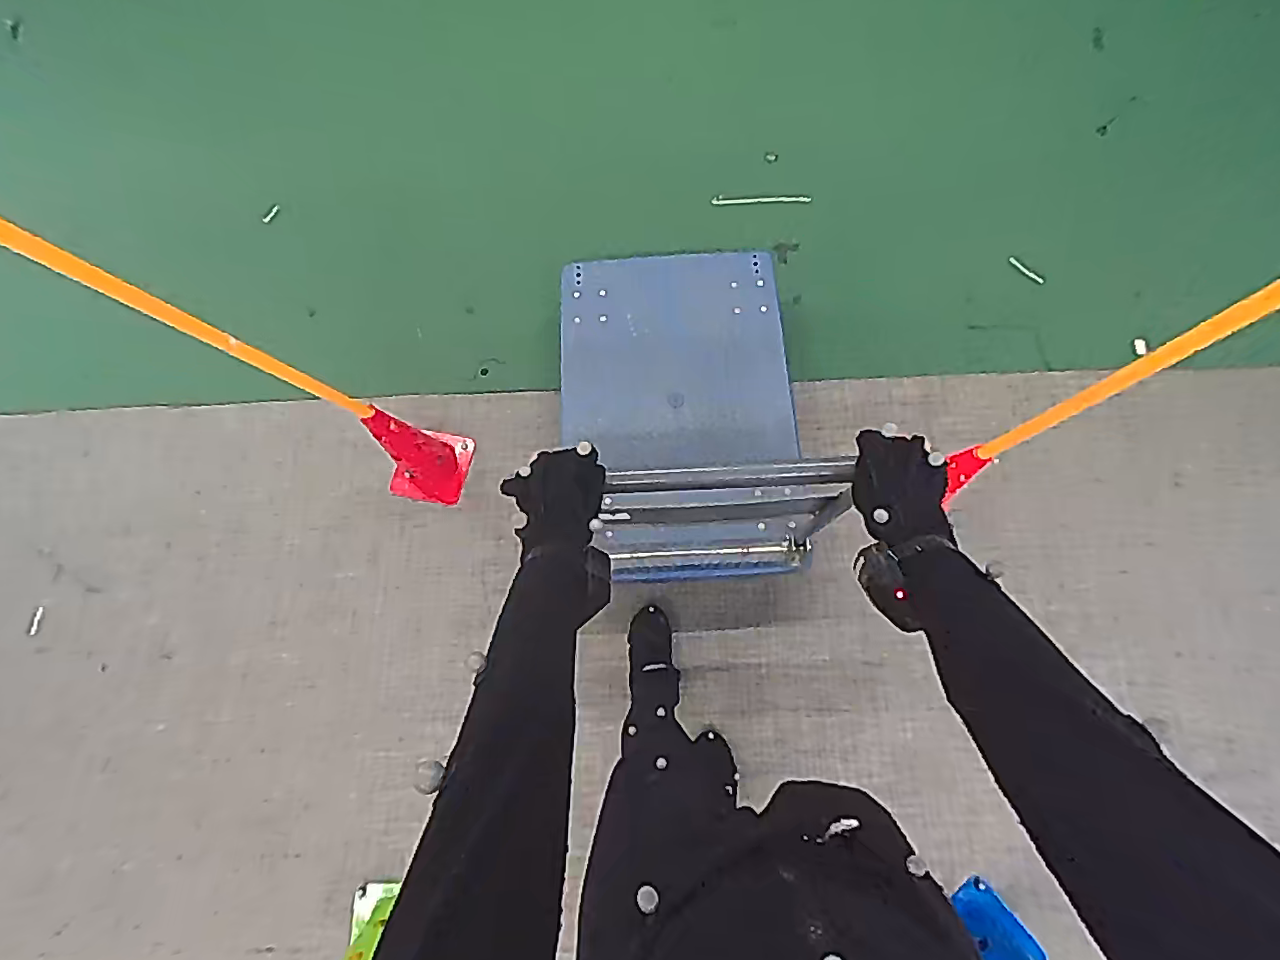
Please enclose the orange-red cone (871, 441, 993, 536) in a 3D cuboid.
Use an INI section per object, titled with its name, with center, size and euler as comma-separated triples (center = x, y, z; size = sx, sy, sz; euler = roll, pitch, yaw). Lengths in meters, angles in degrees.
[orange-red cone]
center = 0.705, -0.009, 1.261
size = 0.198, 0.360, 0.199
euler = 9, 74, 5
